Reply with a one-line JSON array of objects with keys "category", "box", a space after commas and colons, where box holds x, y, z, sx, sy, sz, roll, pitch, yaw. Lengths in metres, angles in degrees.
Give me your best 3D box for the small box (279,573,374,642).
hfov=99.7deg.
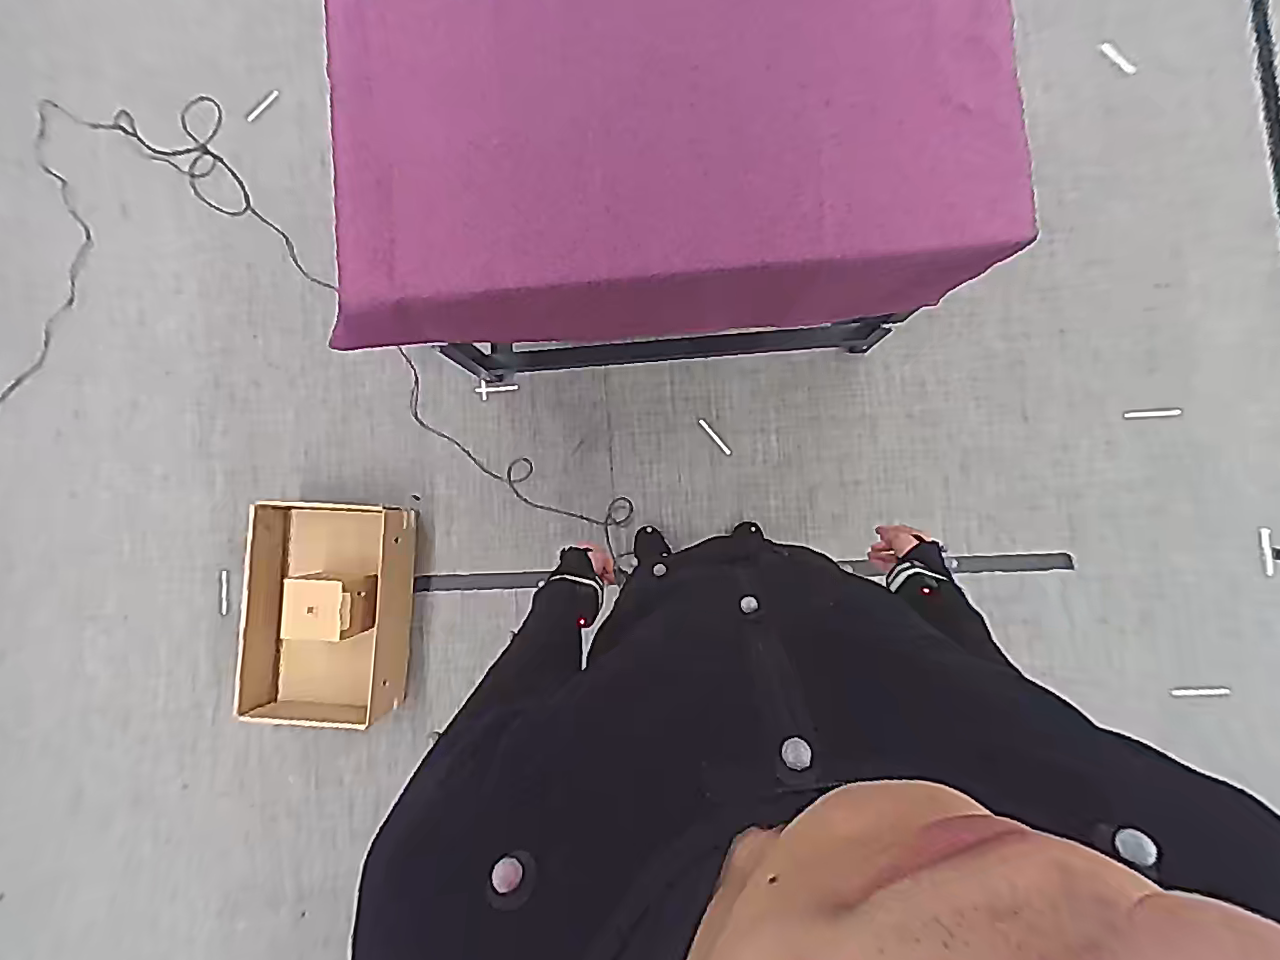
[{"category": "small box", "box": [-0.896, 0.361, 1.560, 0.179, 0.176, 0.168, 2, 87, 4]}]
